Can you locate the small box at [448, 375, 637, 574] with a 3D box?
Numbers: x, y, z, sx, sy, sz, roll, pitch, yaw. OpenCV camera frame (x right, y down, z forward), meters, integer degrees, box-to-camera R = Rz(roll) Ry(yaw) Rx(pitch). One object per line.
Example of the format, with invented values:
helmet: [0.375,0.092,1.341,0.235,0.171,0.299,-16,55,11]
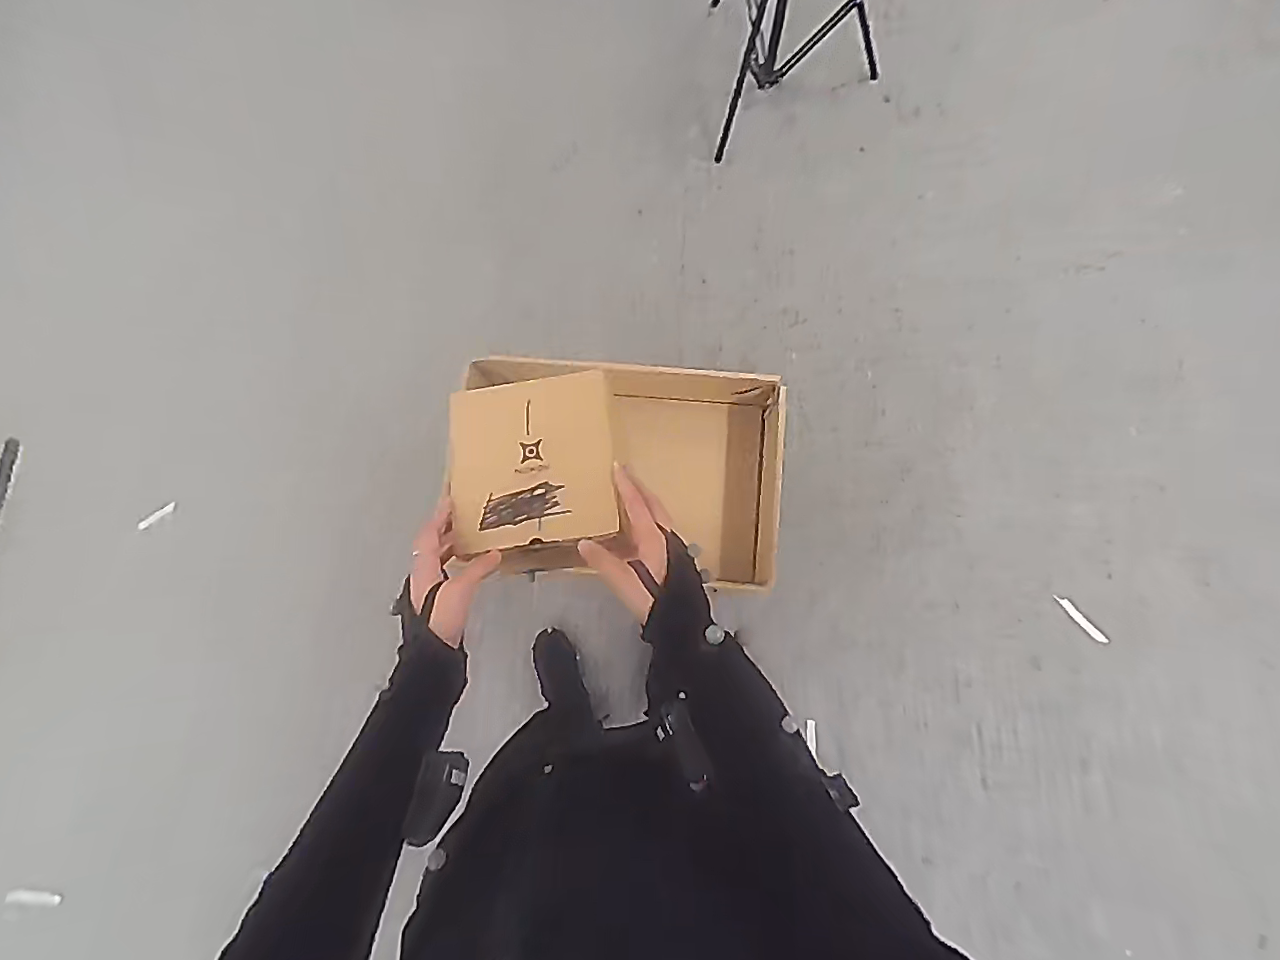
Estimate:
small box: [-0.101,0.008,0.612,0.168,0.176,0.179,-9,73,3]
